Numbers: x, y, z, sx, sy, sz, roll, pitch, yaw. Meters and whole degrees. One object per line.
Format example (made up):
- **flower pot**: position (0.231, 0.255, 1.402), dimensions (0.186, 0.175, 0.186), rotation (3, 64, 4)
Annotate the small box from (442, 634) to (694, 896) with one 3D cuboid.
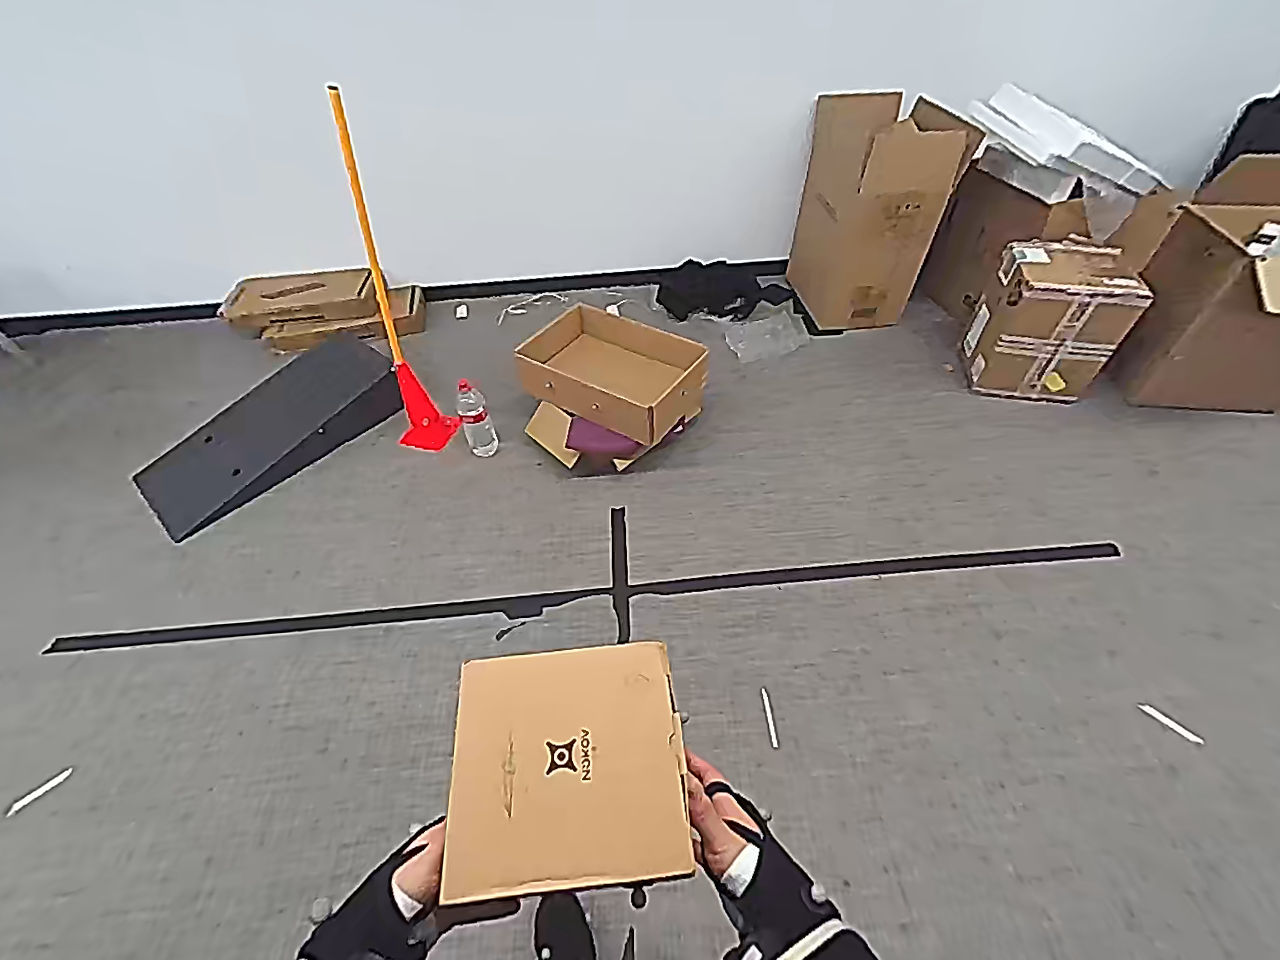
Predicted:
- **small box**: position (-0.053, 0.254, 0.479), dimensions (0.179, 0.176, 0.168), rotation (-7, 52, -1)
